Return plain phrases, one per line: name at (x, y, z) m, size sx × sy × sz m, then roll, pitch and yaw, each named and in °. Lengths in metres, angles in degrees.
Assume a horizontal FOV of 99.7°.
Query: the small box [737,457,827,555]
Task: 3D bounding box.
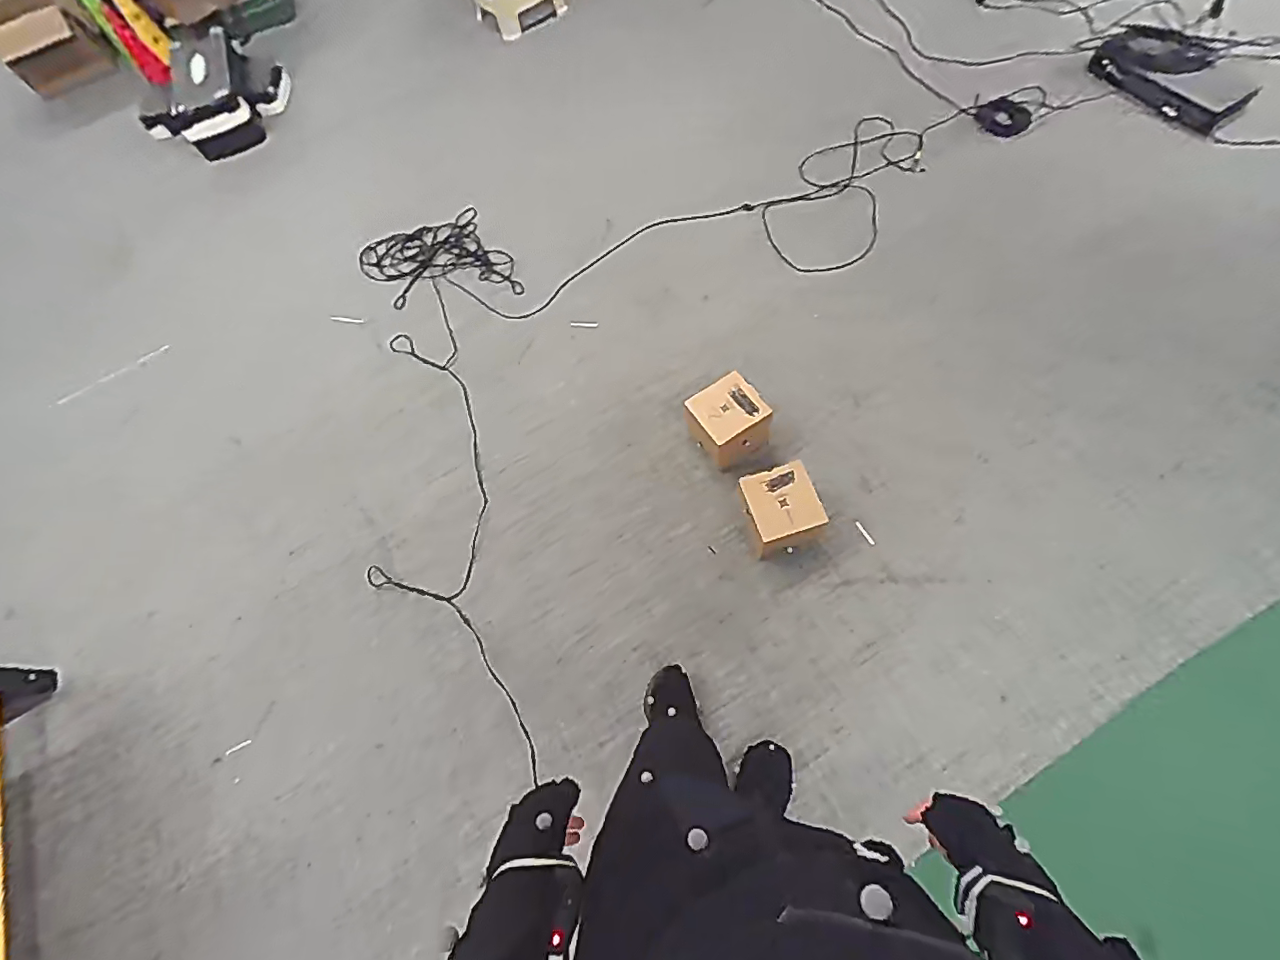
small box at (0.352, 0.071, 1.385) m, size 0.168 × 0.176 × 0.179 m, roll -18°, pitch 67°, yaw 1°
